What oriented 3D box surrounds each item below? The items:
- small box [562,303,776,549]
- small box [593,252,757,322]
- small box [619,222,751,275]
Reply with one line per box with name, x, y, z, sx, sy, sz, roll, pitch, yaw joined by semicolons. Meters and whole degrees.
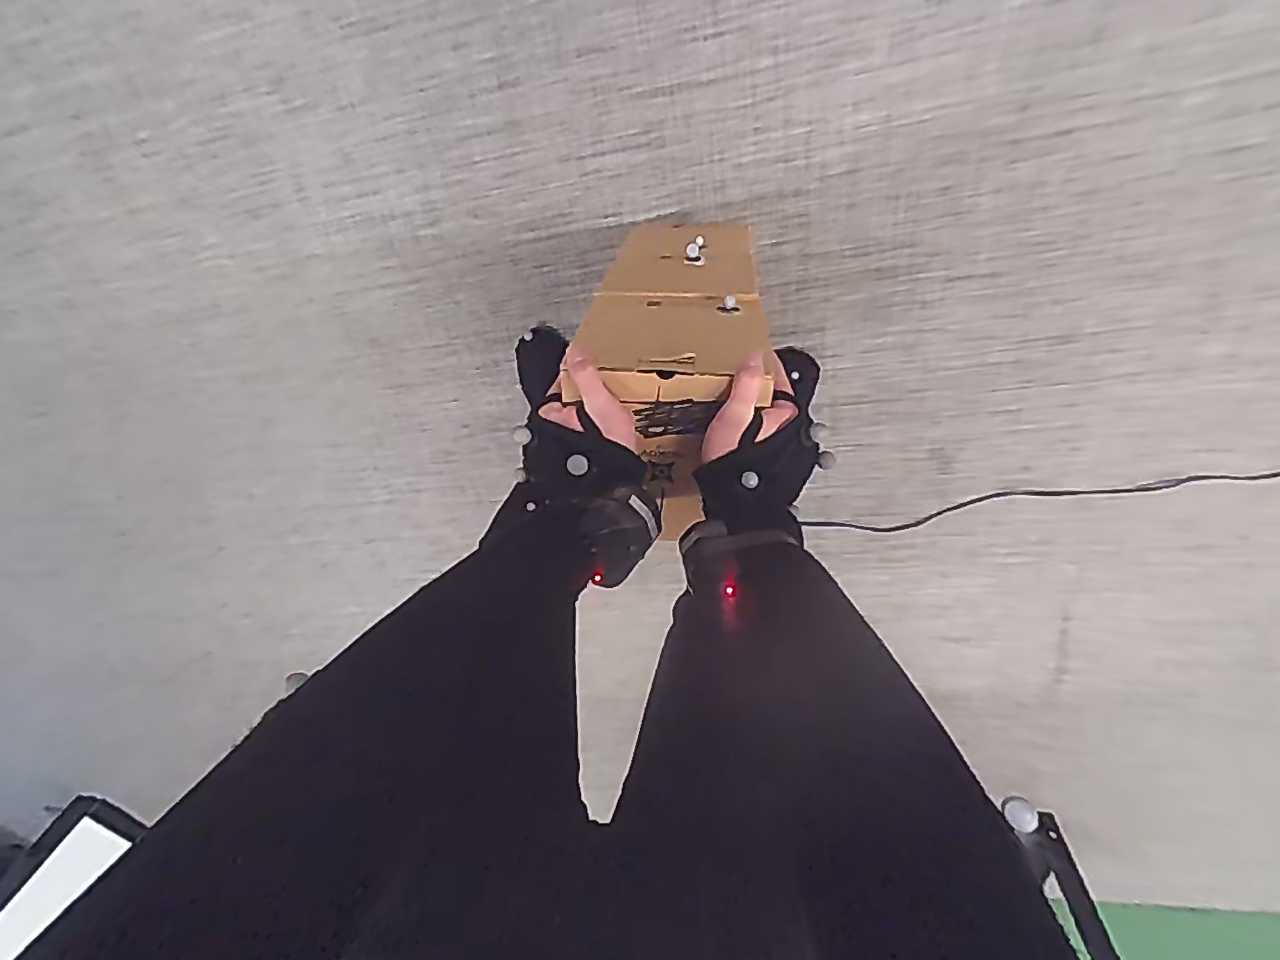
small box;0.028;-0.058;0.517;0.168;0.176;0.179;4;128;6
small box;0.046;-0.158;0.644;0.168;0.176;0.179;2;126;7
small box;0.067;-0.253;0.772;0.168;0.176;0.179;4;127;7
